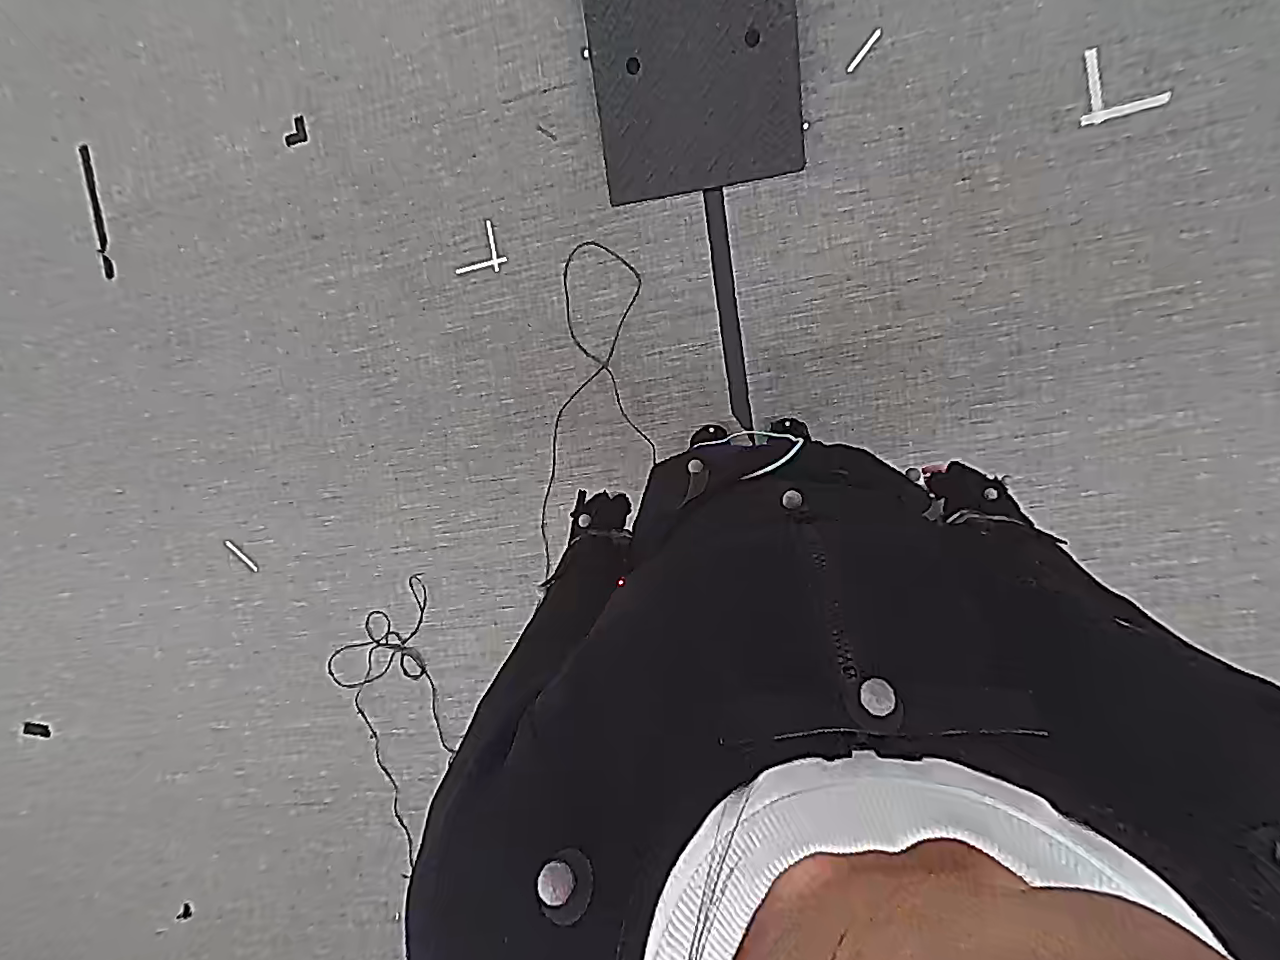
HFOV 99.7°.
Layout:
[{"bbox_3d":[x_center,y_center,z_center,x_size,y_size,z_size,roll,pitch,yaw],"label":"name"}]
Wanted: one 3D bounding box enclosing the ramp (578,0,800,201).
[{"bbox_3d":[0.085,-1.218,1.227,0.509,0.206,0.991,-8,96,9],"label":"ramp"}]
